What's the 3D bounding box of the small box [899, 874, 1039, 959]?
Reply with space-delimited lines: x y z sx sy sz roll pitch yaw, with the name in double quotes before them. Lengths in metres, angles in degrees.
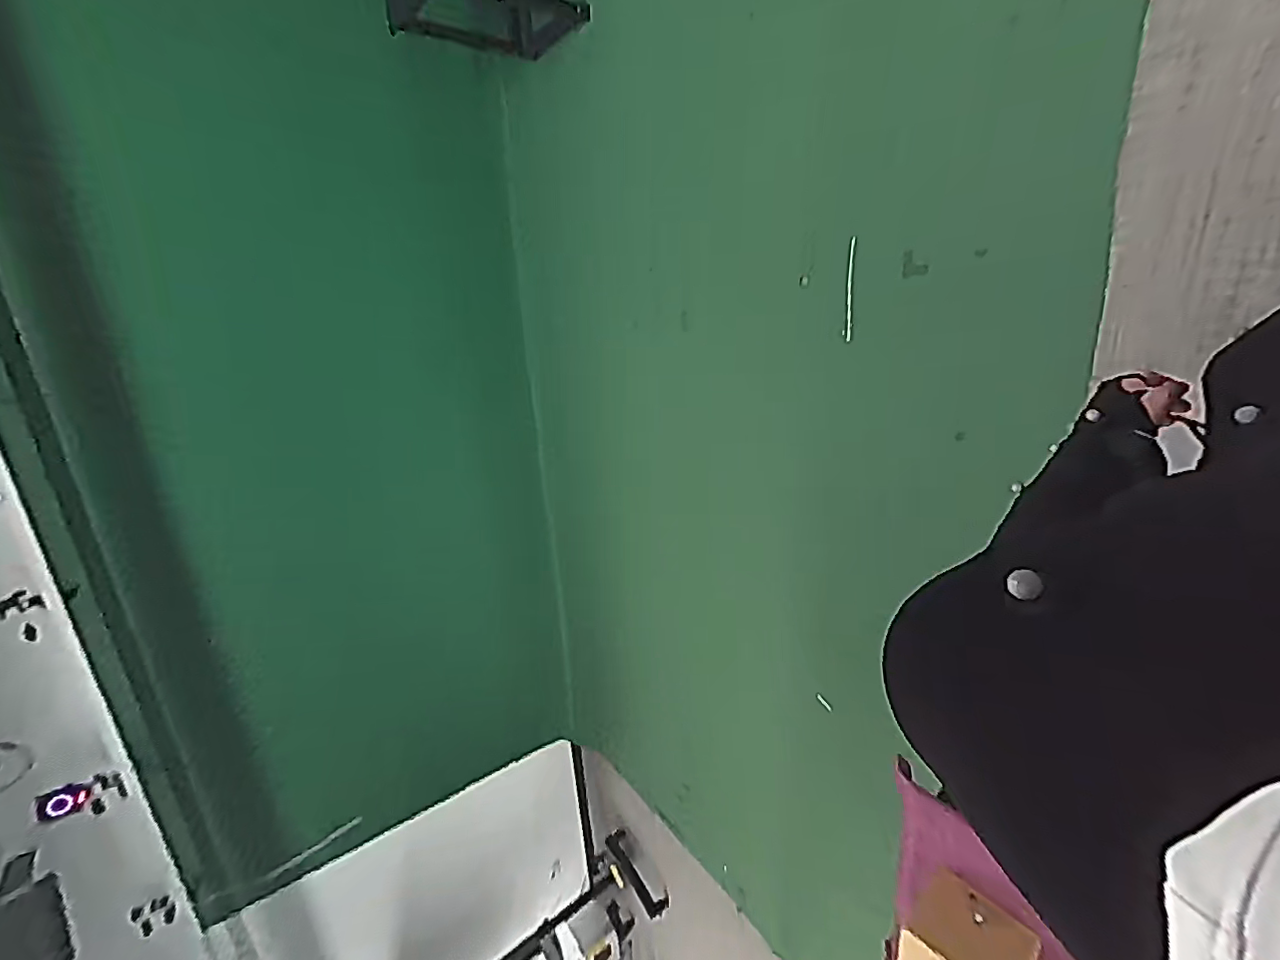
"small box" 0.597 0.889 0.990 0.168 0.176 0.179 19 119 50
